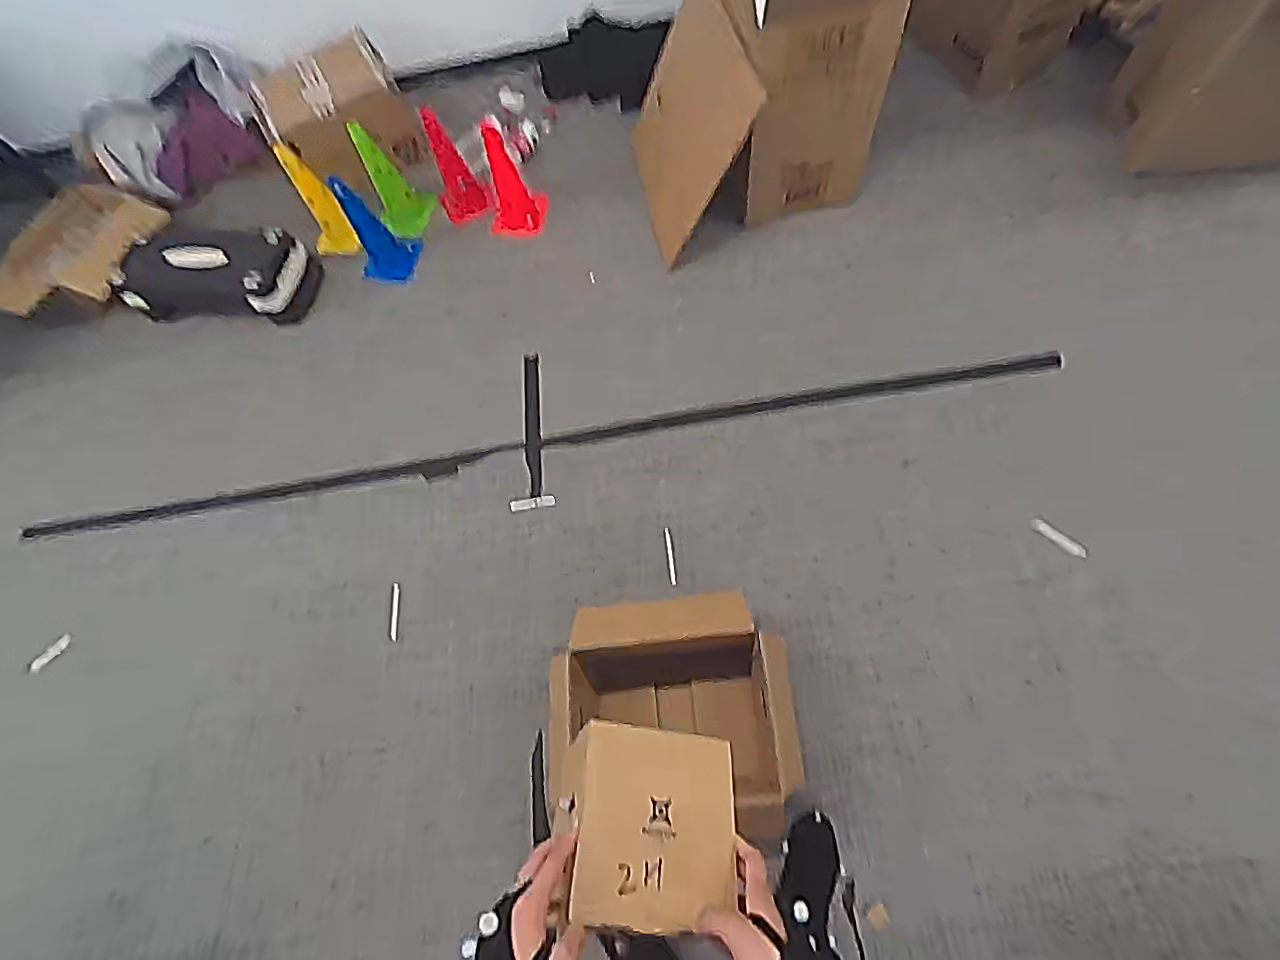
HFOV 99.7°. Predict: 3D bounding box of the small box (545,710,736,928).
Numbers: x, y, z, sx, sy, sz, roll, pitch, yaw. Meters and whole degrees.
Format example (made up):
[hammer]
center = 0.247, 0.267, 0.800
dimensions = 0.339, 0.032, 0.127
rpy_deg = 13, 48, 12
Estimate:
[small box]
center = -0.005, 0.382, 0.606
dimensions = 0.168, 0.176, 0.179
rpy_deg = 13, 49, -10
